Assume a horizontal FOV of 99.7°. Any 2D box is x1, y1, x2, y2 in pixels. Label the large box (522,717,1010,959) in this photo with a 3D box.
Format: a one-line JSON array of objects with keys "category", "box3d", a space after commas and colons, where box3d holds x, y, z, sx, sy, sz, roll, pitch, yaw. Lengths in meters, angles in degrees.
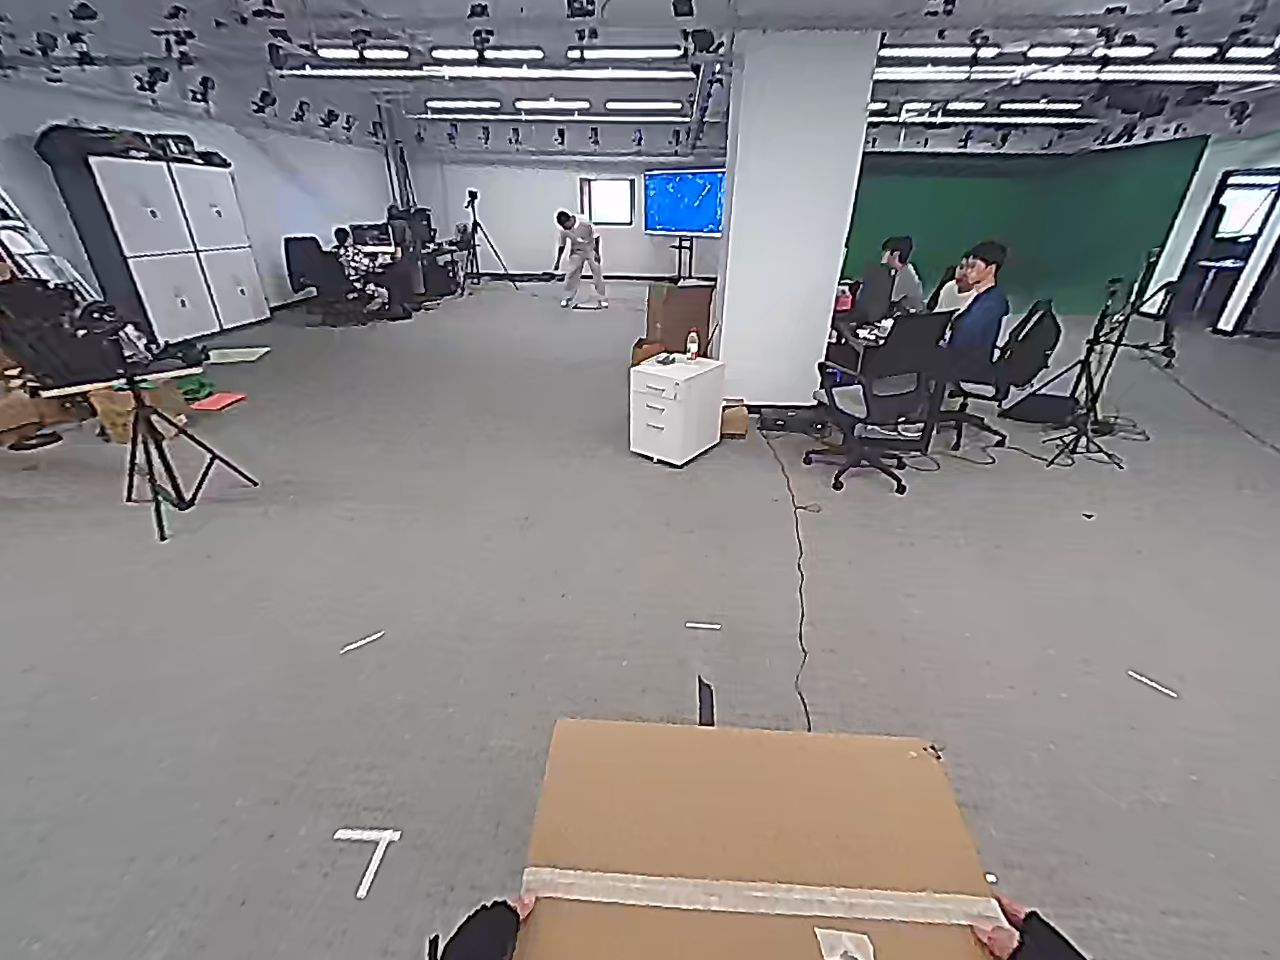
[{"category": "large box", "box3d": [0.103, 0.484, 0.561, 0.408, 0.320, 0.320, 2, 34, 3]}]
